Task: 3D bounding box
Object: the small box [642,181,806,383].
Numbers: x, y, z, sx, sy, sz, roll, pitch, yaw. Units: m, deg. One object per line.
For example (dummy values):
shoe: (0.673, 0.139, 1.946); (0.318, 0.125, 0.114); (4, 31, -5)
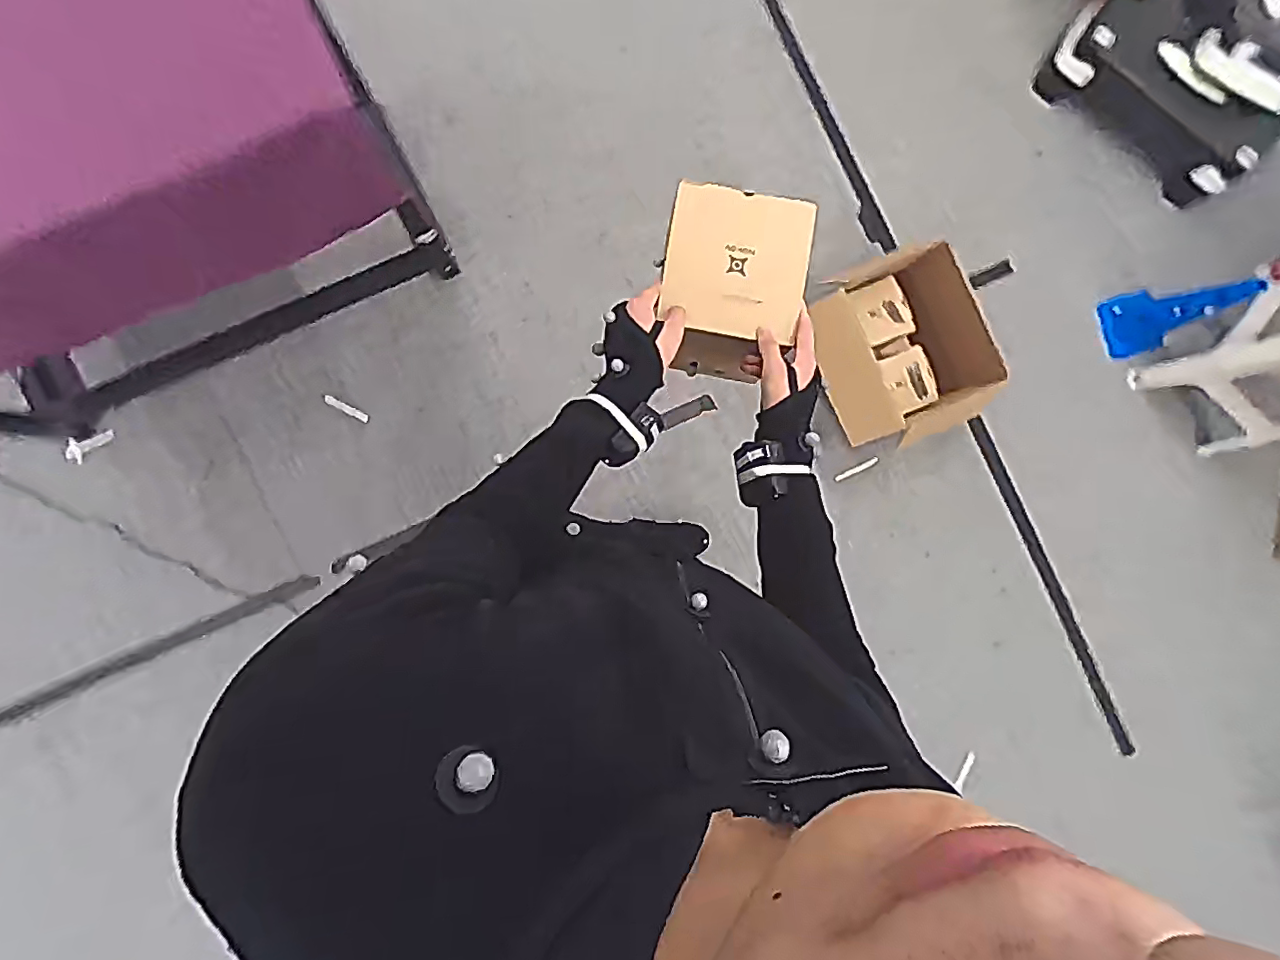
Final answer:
small box: (0.098, -0.243, 0.703); (0.168, 0.176, 0.179); (10, 84, -3)
